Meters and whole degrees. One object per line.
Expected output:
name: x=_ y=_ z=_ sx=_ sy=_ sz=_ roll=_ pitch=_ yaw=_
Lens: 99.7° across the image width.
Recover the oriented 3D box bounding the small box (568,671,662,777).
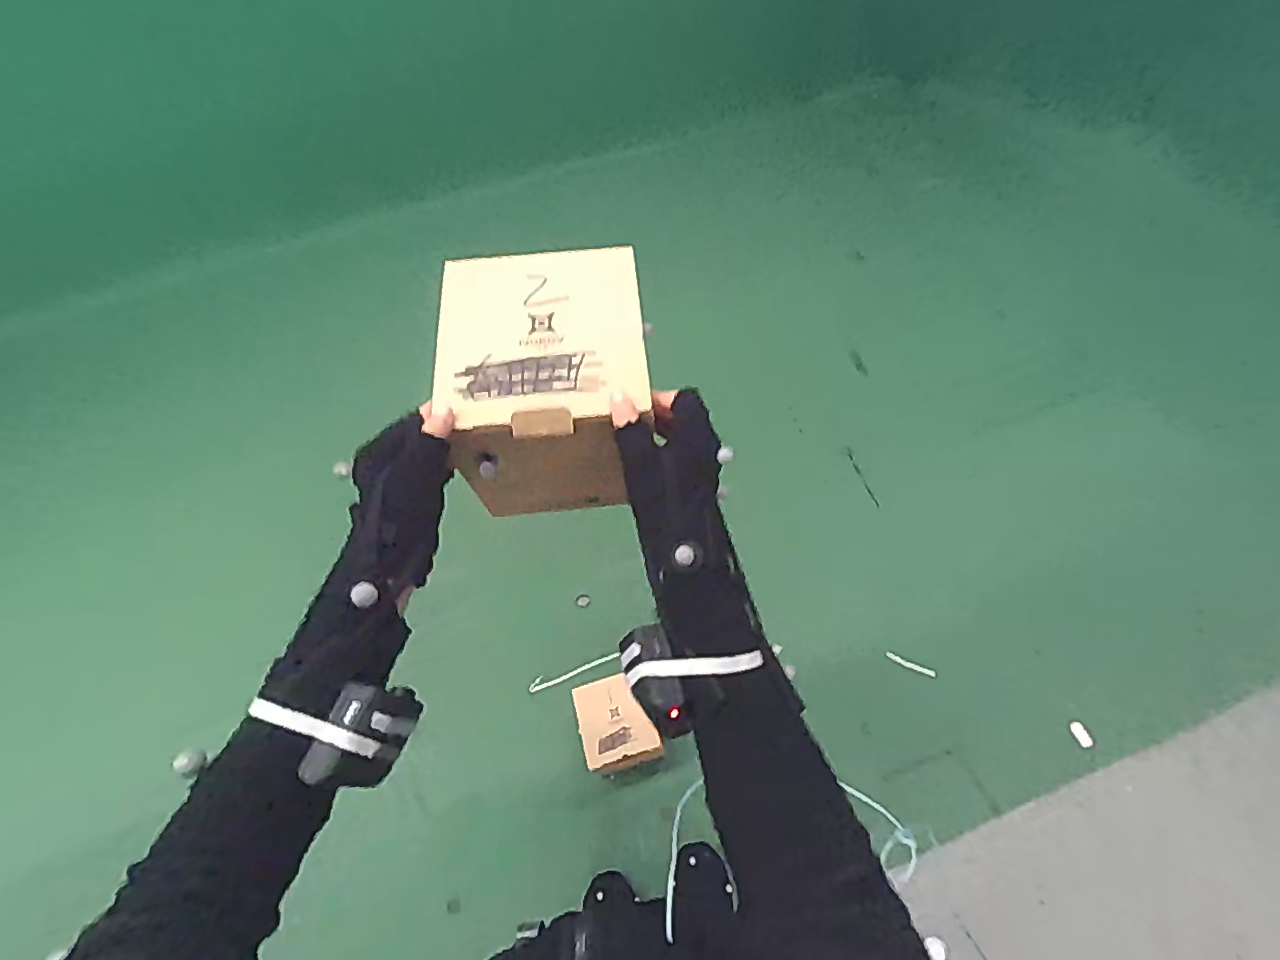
small box: x=-0.053 y=0.571 z=1.260 sx=0.168 sy=0.176 sz=0.179 roll=-19 pitch=59 yaw=-7
